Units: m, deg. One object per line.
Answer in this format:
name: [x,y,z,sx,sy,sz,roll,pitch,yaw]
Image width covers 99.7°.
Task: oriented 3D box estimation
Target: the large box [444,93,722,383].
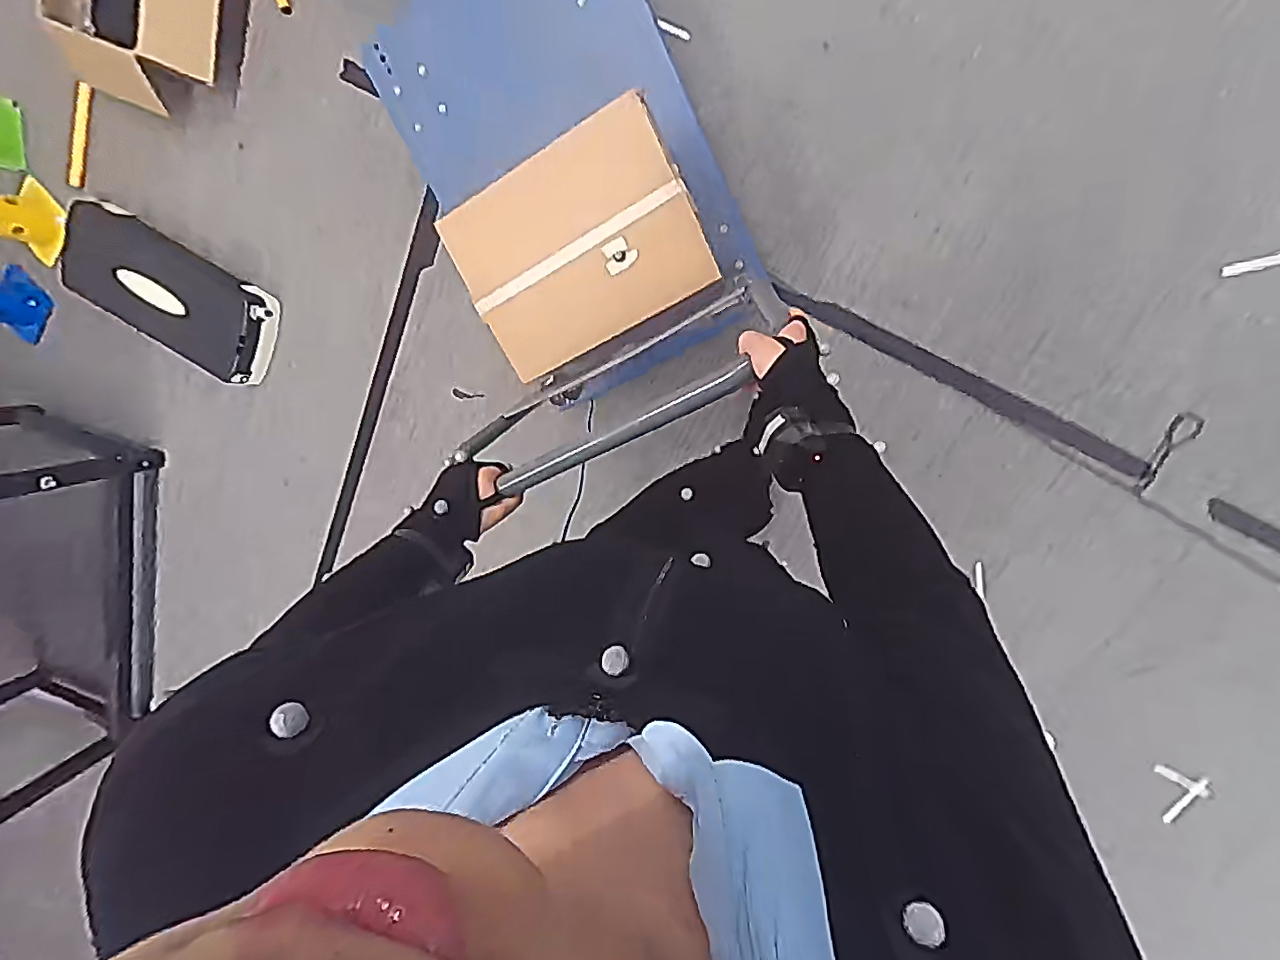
large box: [-0.084,-0.433,1.062,0.408,0.320,0.320,-25,103,16]
